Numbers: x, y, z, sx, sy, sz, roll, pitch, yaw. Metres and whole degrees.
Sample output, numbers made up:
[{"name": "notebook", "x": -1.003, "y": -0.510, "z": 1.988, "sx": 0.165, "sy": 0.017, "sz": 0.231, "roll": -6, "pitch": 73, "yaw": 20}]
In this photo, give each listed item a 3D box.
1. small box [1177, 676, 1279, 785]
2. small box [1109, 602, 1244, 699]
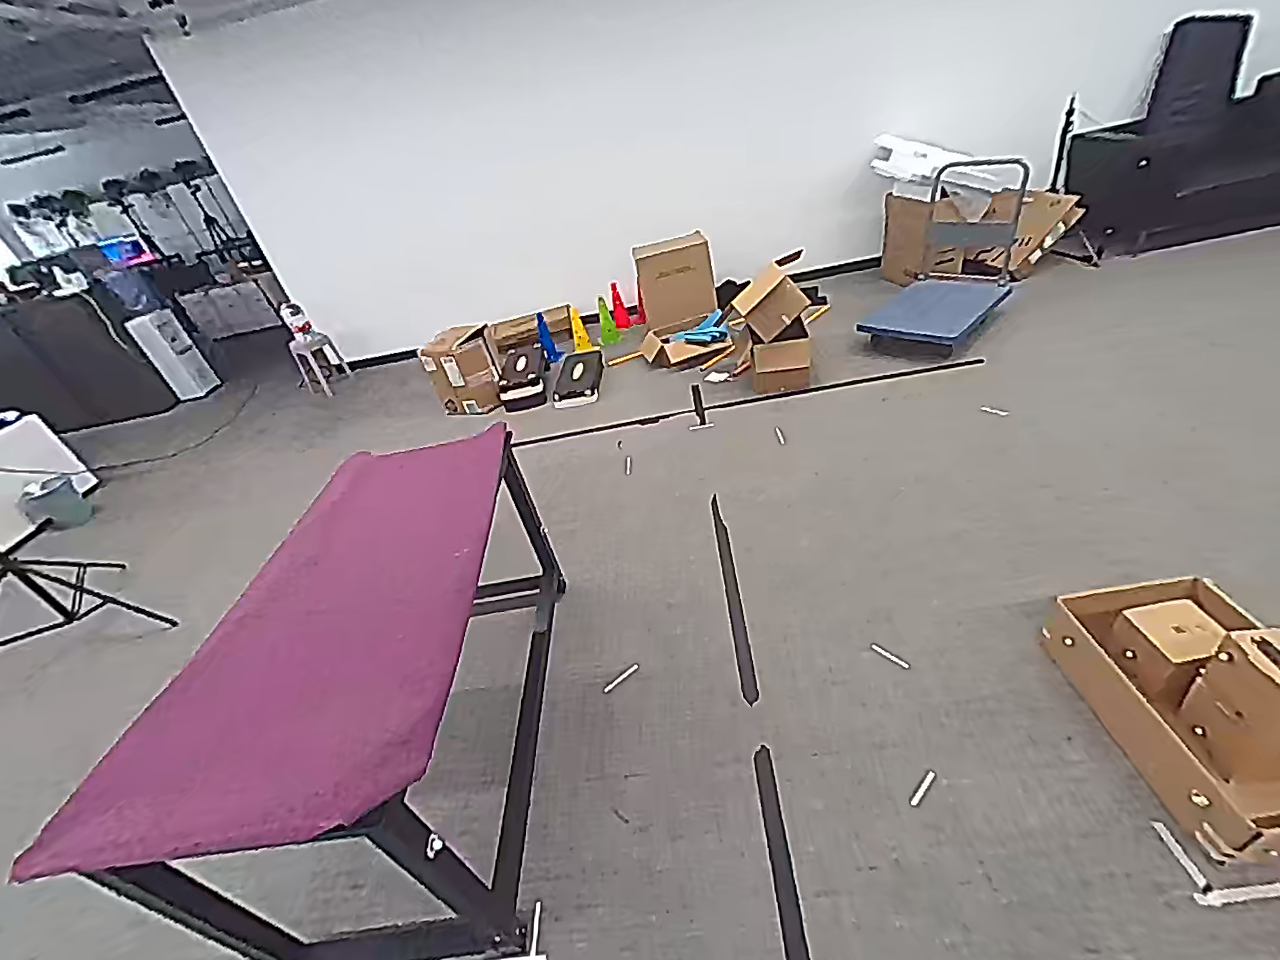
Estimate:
[{"name": "small box", "x": 1.407, "y": 0.574, "z": 1.237, "sx": 0.179, "sy": 0.176, "sz": 0.168, "roll": -8, "pitch": 33, "yaw": 9}, {"name": "small box", "x": 1.380, "y": 0.450, "z": 1.412, "sx": 0.179, "sy": 0.176, "sz": 0.168, "roll": -11, "pitch": 36, "yaw": 4}]
